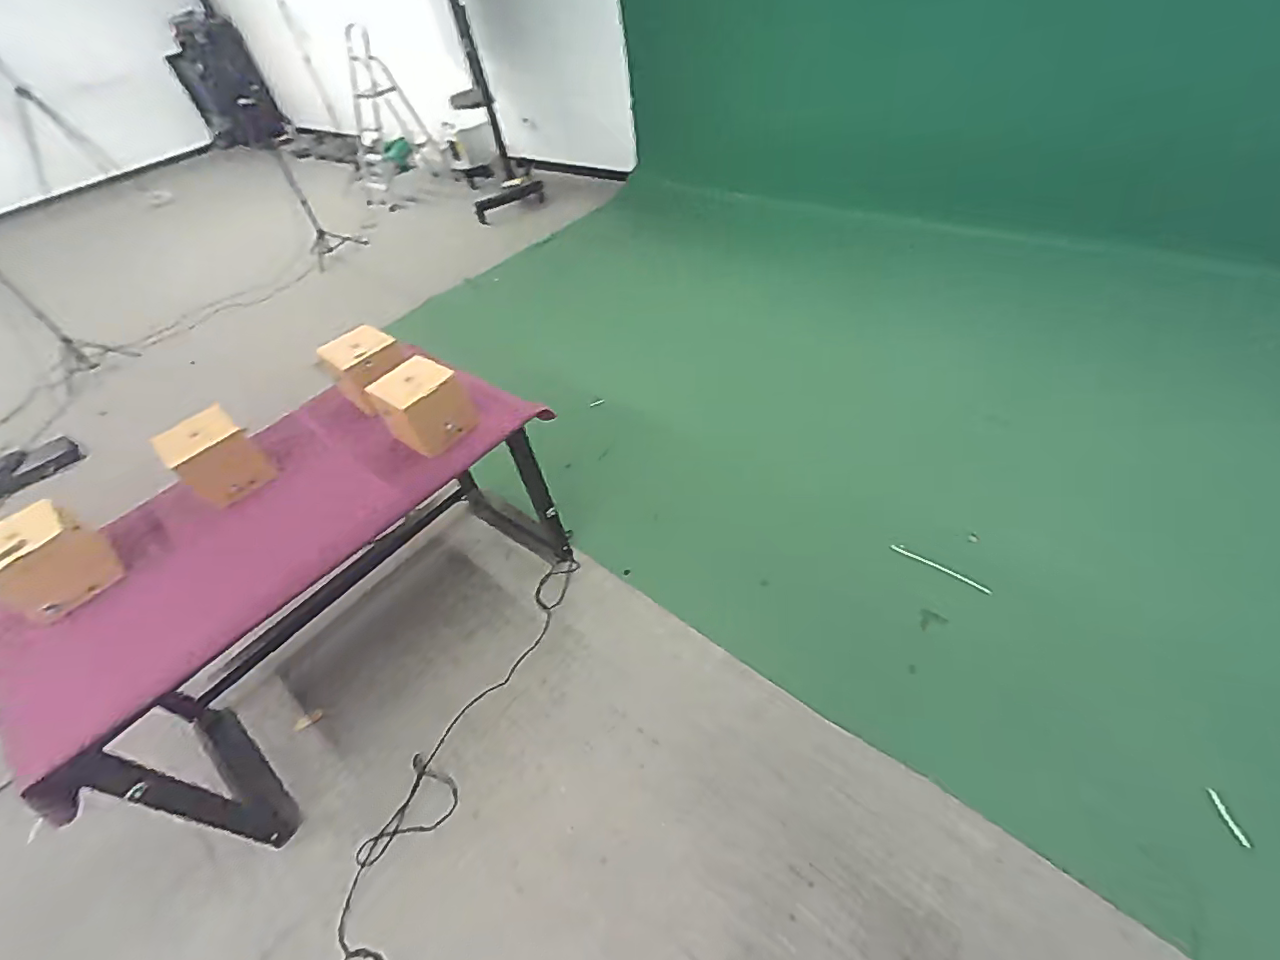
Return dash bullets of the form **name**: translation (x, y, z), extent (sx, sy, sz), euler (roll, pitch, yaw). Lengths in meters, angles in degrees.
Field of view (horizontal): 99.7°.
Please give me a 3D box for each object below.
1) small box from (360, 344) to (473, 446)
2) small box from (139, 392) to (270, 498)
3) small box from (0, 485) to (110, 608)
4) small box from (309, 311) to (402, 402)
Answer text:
- **small box**: translation (-0.563, -0.214, 1.380), extent (0.179, 0.176, 0.168), euler (28, 59, 29)
- **small box**: translation (-1.078, -0.084, 1.348), extent (0.179, 0.176, 0.168), euler (32, 61, 30)
- **small box**: translation (-1.313, 0.150, 1.167), extent (0.179, 0.176, 0.168), euler (30, 58, 30)
- **small box**: translation (-0.788, -0.348, 1.539), extent (0.179, 0.176, 0.168), euler (30, 60, 30)
